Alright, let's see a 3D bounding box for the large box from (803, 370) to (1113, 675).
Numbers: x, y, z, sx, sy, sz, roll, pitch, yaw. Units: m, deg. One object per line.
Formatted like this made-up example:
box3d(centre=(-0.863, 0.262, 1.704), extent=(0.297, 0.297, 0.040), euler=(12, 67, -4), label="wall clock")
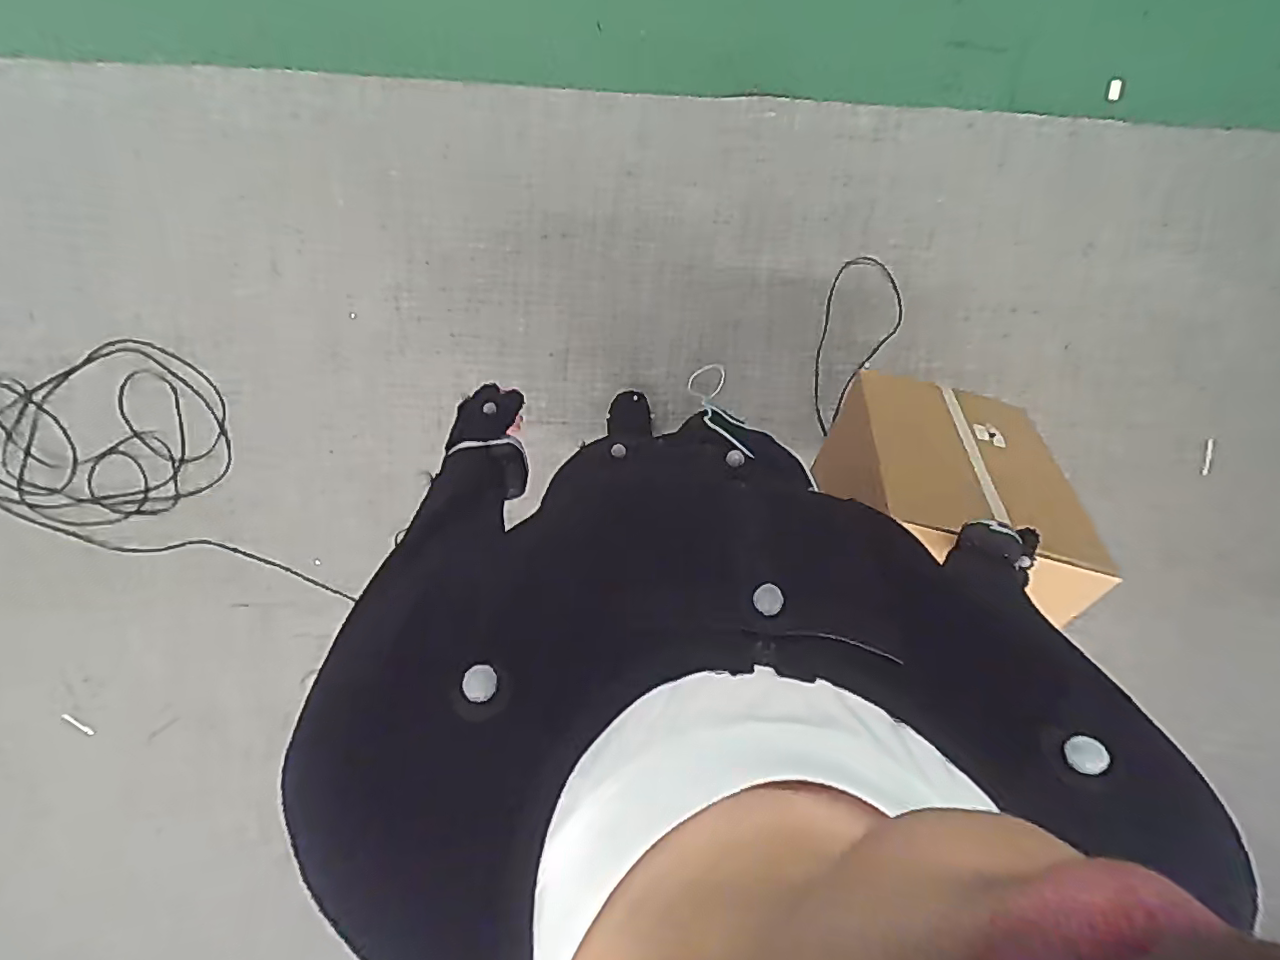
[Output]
box3d(centre=(0.495, 0.066, 0.964), extent=(0.320, 0.408, 0.320), euler=(15, 133, 2), label="large box")
